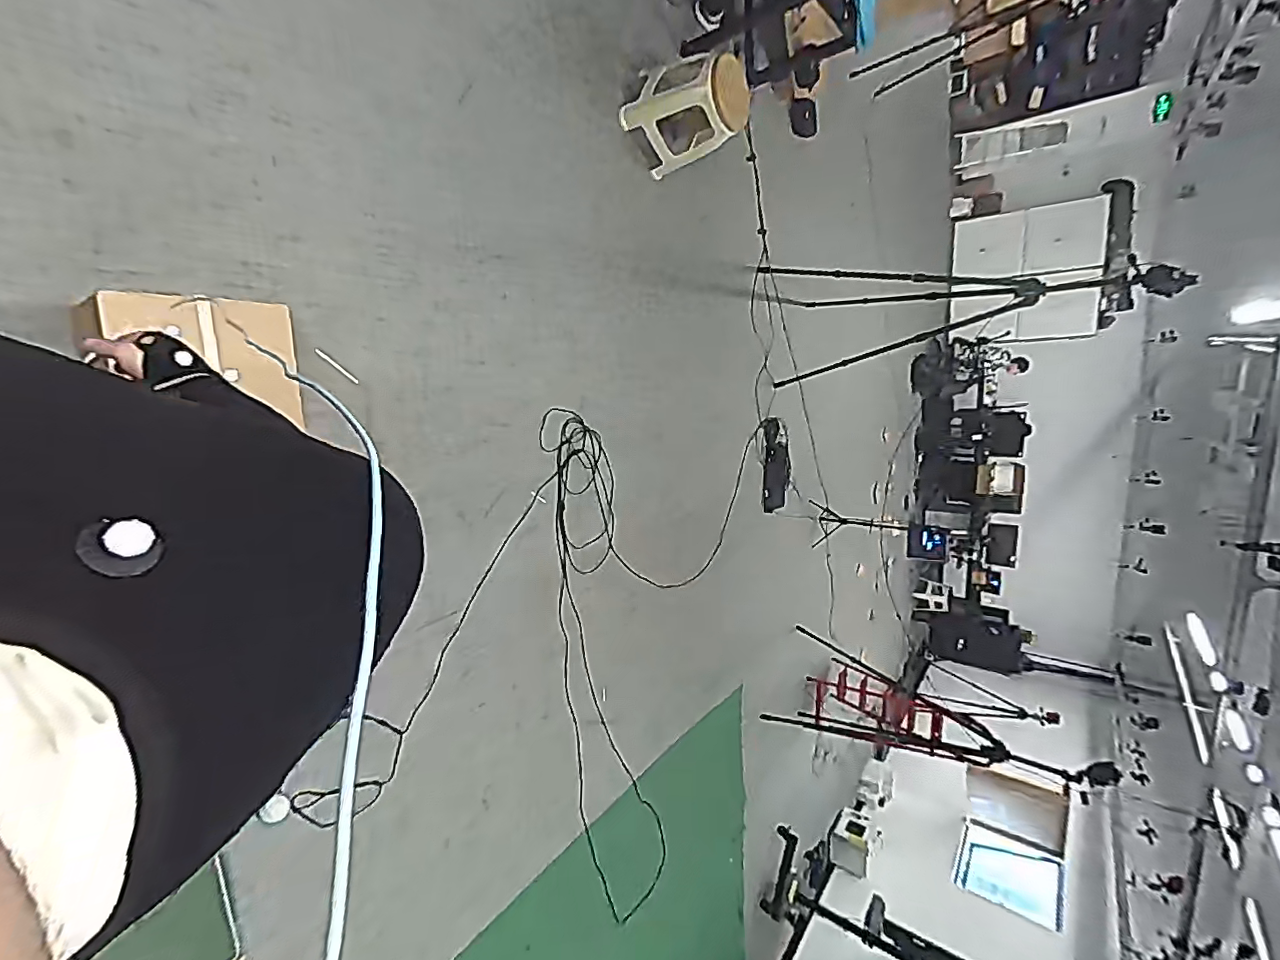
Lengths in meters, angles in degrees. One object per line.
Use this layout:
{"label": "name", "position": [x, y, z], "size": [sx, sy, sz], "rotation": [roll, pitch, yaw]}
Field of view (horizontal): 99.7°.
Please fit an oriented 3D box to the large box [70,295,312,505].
{"label": "large box", "position": [-0.997, -0.184, 1.216], "size": [0.320, 0.320, 0.408], "rotation": [-15, 107, -50]}
